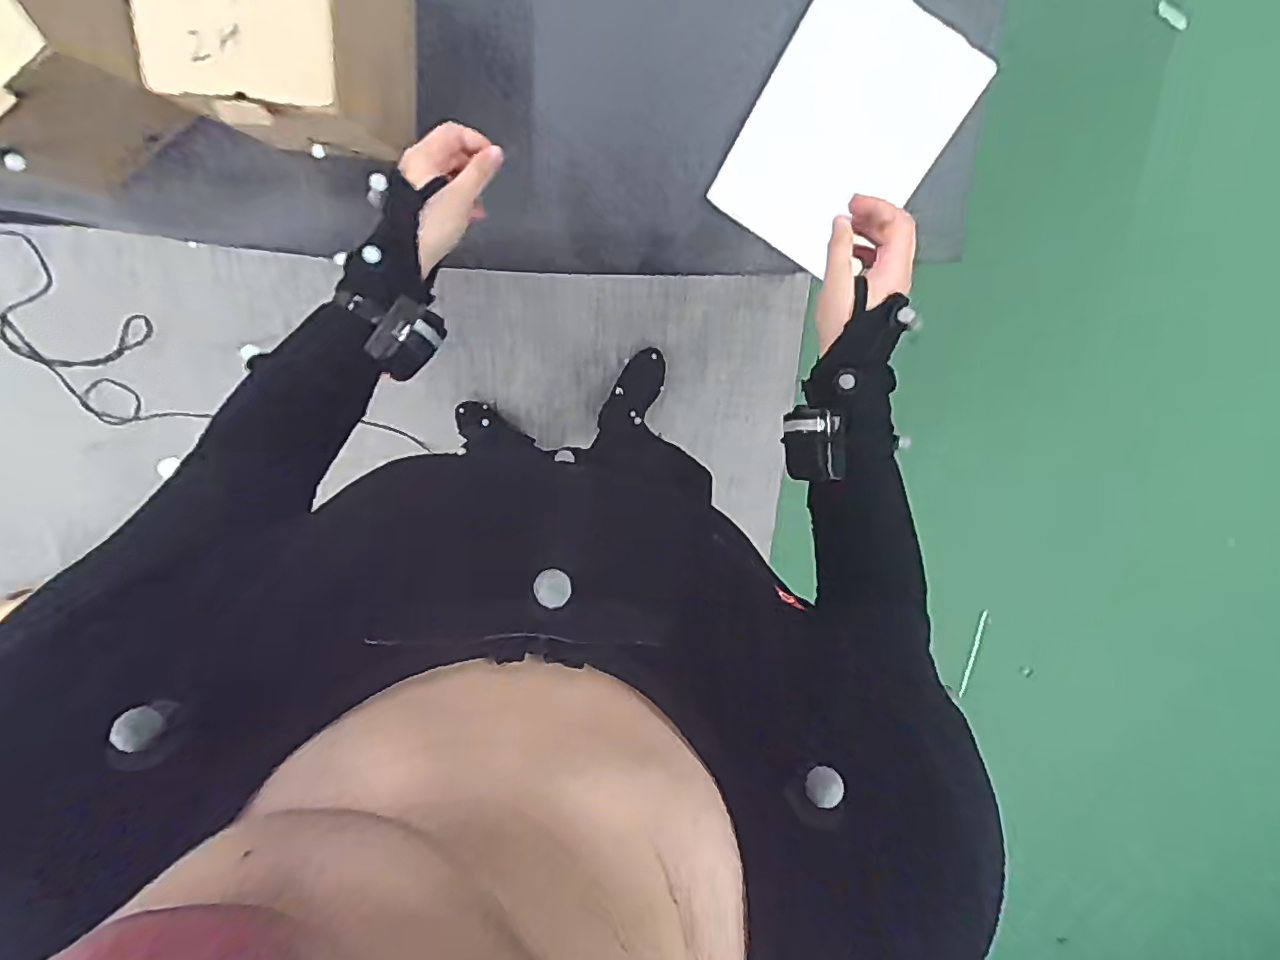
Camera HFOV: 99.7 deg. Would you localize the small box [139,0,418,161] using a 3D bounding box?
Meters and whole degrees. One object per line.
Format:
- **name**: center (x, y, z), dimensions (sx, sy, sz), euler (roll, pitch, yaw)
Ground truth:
- **small box**: center (-0.327, -0.434, 0.518), dimensions (0.168, 0.176, 0.179), euler (6, 108, 1)
